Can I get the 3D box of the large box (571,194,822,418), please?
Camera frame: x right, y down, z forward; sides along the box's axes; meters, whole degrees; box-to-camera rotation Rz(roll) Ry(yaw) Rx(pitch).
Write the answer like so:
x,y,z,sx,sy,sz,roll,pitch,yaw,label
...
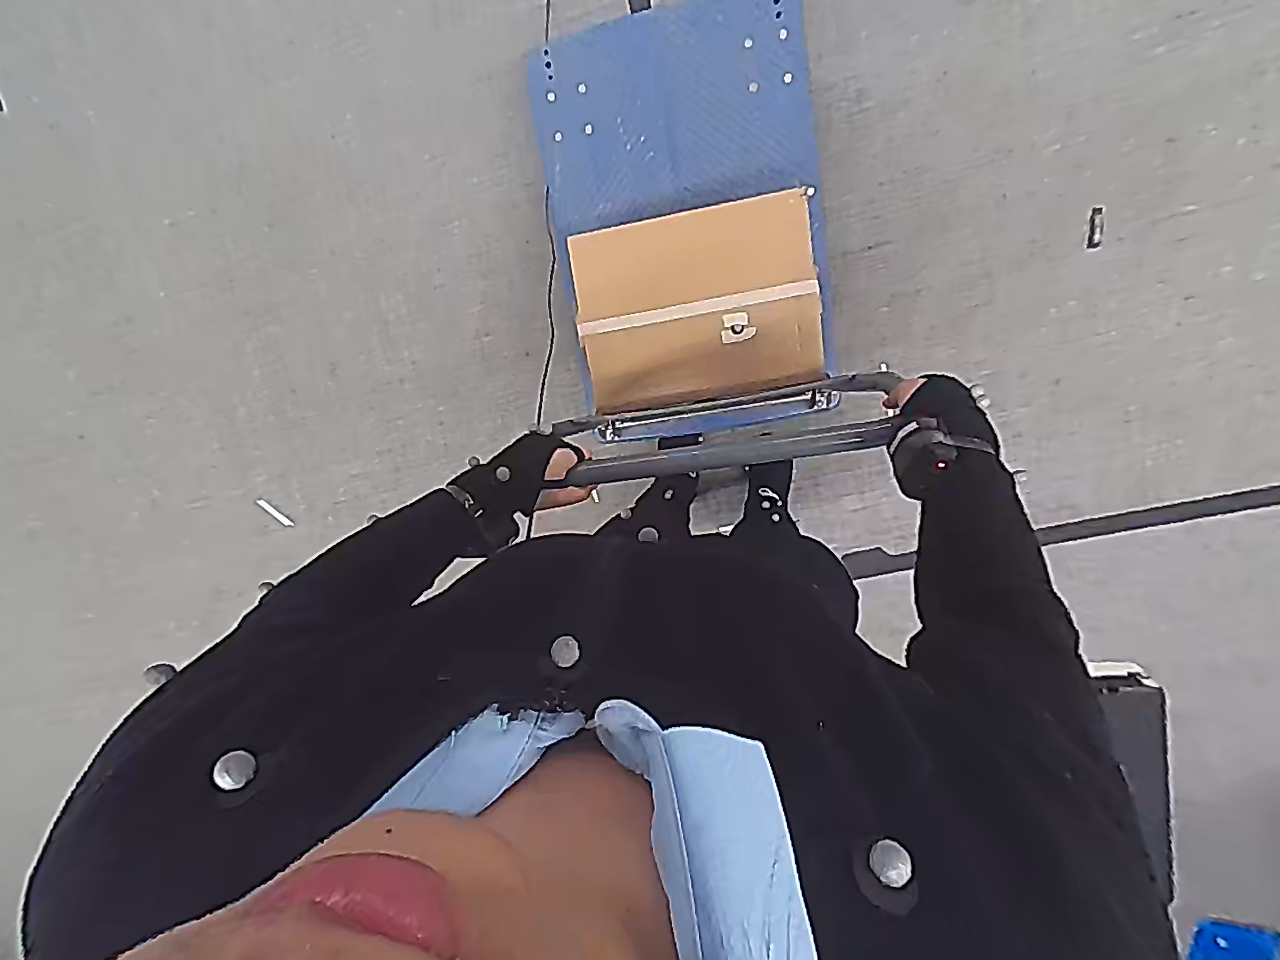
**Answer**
x,y,z,sx,sy,sz,roll,pitch,yaw,label
0.114,-0.317,1.081,0.408,0.320,0.320,-8,101,9,large box
